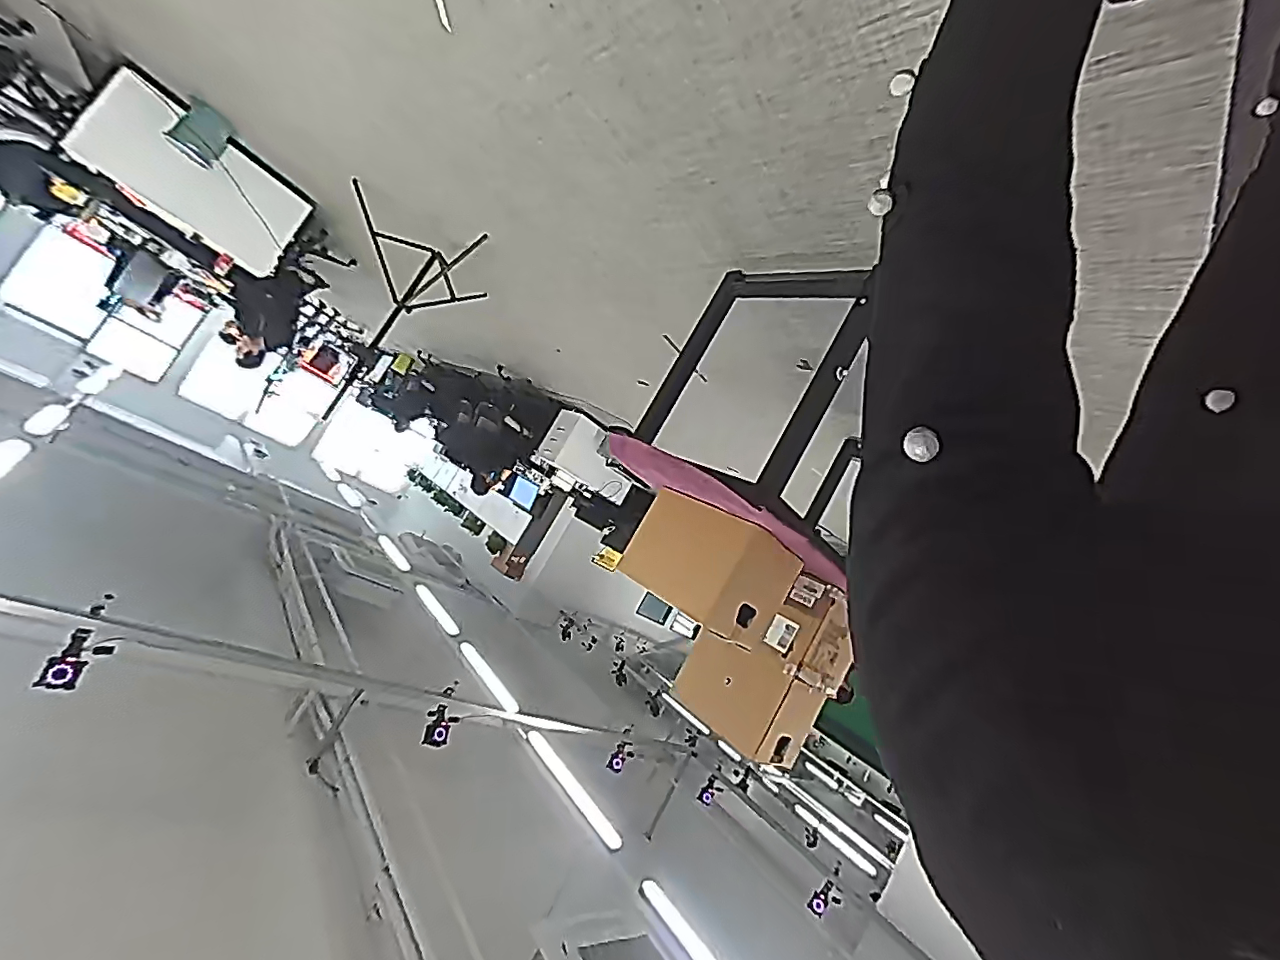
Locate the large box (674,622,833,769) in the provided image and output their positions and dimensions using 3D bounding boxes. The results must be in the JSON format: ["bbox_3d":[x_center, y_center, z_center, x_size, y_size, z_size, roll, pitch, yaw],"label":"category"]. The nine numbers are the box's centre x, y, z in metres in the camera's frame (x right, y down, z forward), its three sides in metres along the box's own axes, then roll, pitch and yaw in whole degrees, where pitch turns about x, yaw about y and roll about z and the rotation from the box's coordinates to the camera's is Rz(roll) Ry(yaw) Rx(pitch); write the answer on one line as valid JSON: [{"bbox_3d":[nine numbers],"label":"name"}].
[{"bbox_3d":[0.408,0.769,1.963,0.320,0.320,0.408,34,172,-41],"label":"large box"}]
